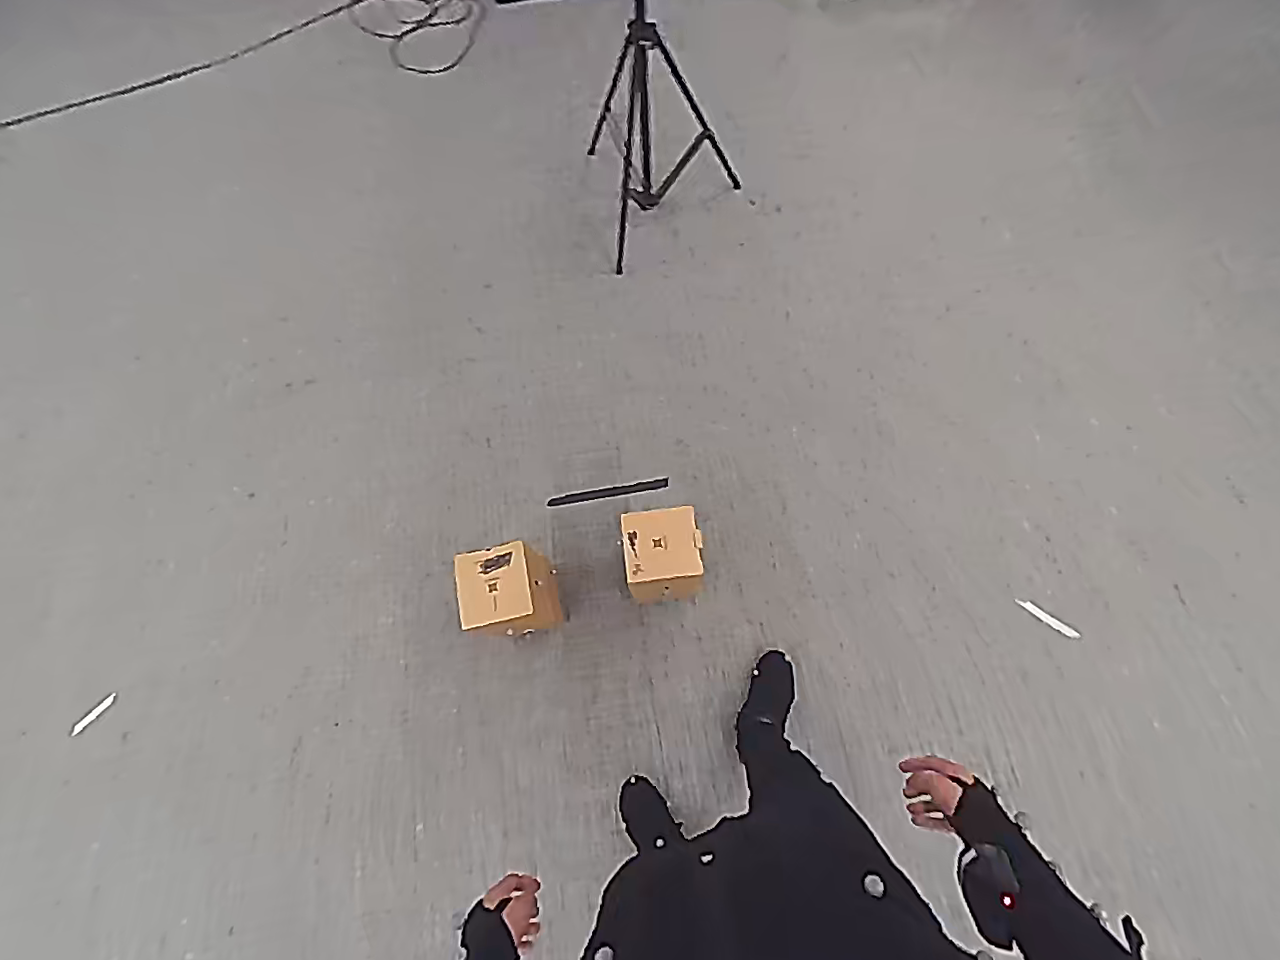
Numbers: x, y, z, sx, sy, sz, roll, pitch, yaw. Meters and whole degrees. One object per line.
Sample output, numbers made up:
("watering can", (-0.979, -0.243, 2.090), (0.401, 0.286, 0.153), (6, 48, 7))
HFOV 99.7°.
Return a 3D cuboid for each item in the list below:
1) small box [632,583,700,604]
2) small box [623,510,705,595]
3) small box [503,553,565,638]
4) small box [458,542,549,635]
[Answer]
("small box", (0.063, 0.237, 1.470), (0.179, 0.176, 0.168), (-7, 70, 0))
("small box", (0.055, 0.180, 1.316), (0.179, 0.176, 0.168), (-6, 69, 0))
("small box", (-0.310, 0.317, 1.462), (0.168, 0.176, 0.179), (-14, 70, -2))
("small box", (-0.326, 0.266, 1.307), (0.168, 0.176, 0.179), (-13, 70, -1))
